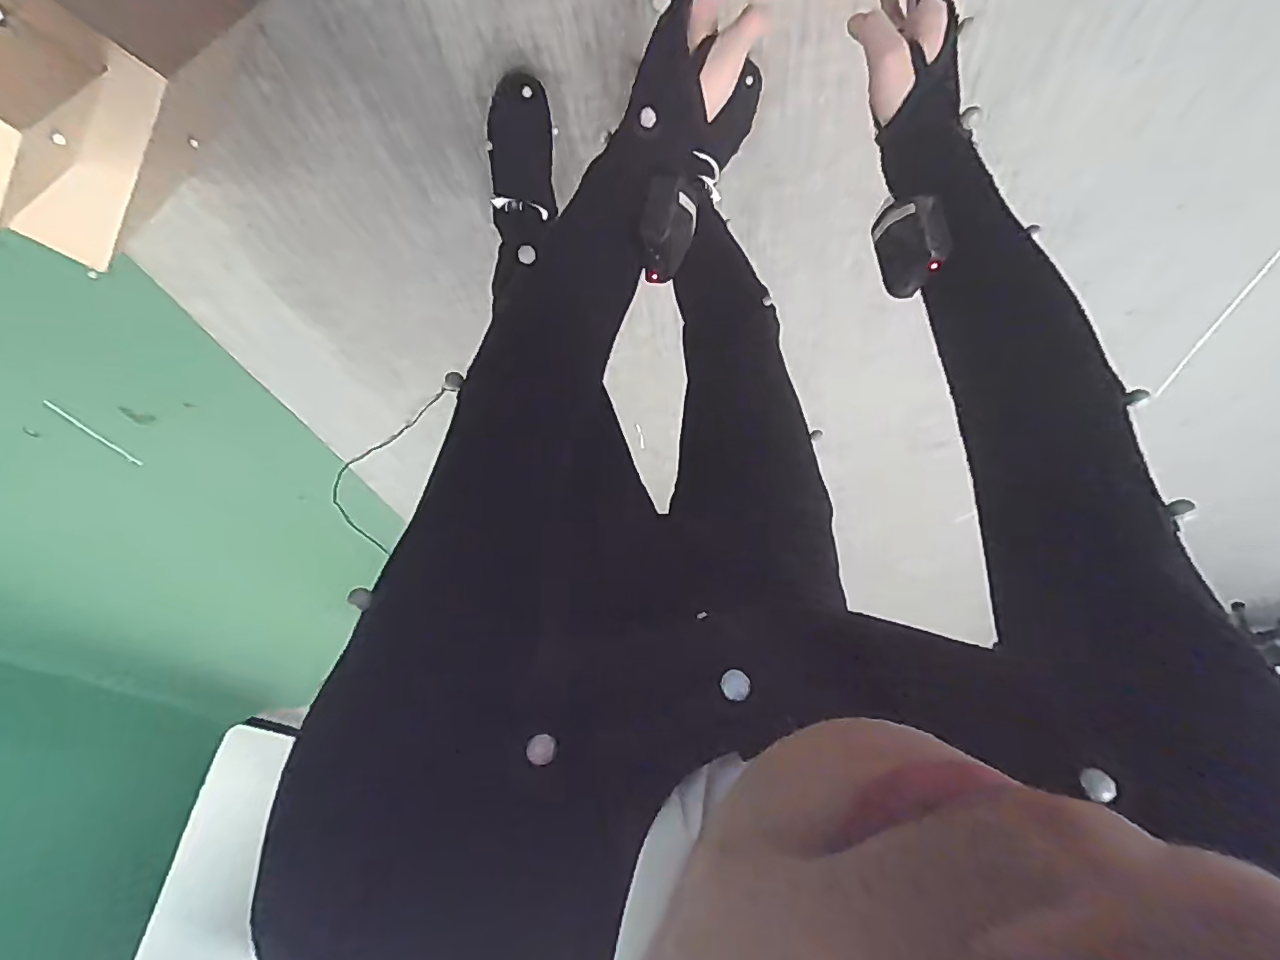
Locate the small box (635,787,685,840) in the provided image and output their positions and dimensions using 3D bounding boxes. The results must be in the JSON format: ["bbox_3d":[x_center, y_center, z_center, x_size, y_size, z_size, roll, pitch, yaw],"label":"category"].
[{"bbox_3d":[0.075,1.260,2.042,0.168,0.176,0.179,-6,145,8],"label":"small box"}]

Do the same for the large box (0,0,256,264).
[{"bbox_3d":[-0.818,-0.611,0.757,0.408,0.320,0.320,-27,137,34],"label":"large box"}]

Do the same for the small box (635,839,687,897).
[{"bbox_3d":[0.076,1.398,1.953,0.168,0.176,0.179,-6,145,9],"label":"small box"}]
